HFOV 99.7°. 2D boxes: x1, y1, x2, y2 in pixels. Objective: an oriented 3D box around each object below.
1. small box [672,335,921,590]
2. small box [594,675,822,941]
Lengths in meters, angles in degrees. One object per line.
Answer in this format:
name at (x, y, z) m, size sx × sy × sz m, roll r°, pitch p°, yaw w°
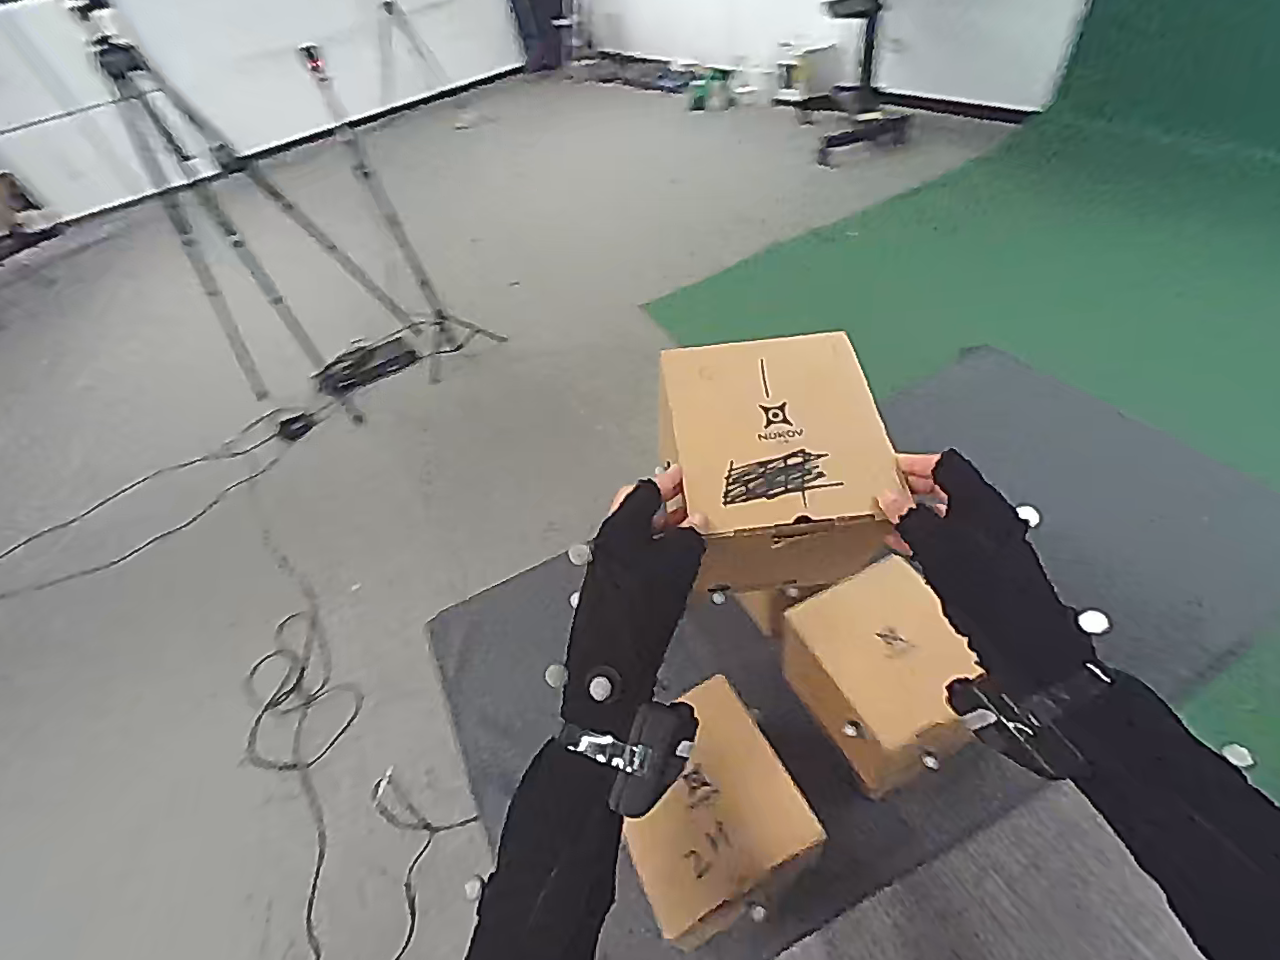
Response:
small box at (0.121, -0.005, 0.501) m, size 0.168 × 0.176 × 0.179 m, roll -6°, pitch 61°, yaw -1°
small box at (0.071, 0.355, 0.588) m, size 0.168 × 0.176 × 0.179 m, roll -27°, pitch 47°, yaw -11°
